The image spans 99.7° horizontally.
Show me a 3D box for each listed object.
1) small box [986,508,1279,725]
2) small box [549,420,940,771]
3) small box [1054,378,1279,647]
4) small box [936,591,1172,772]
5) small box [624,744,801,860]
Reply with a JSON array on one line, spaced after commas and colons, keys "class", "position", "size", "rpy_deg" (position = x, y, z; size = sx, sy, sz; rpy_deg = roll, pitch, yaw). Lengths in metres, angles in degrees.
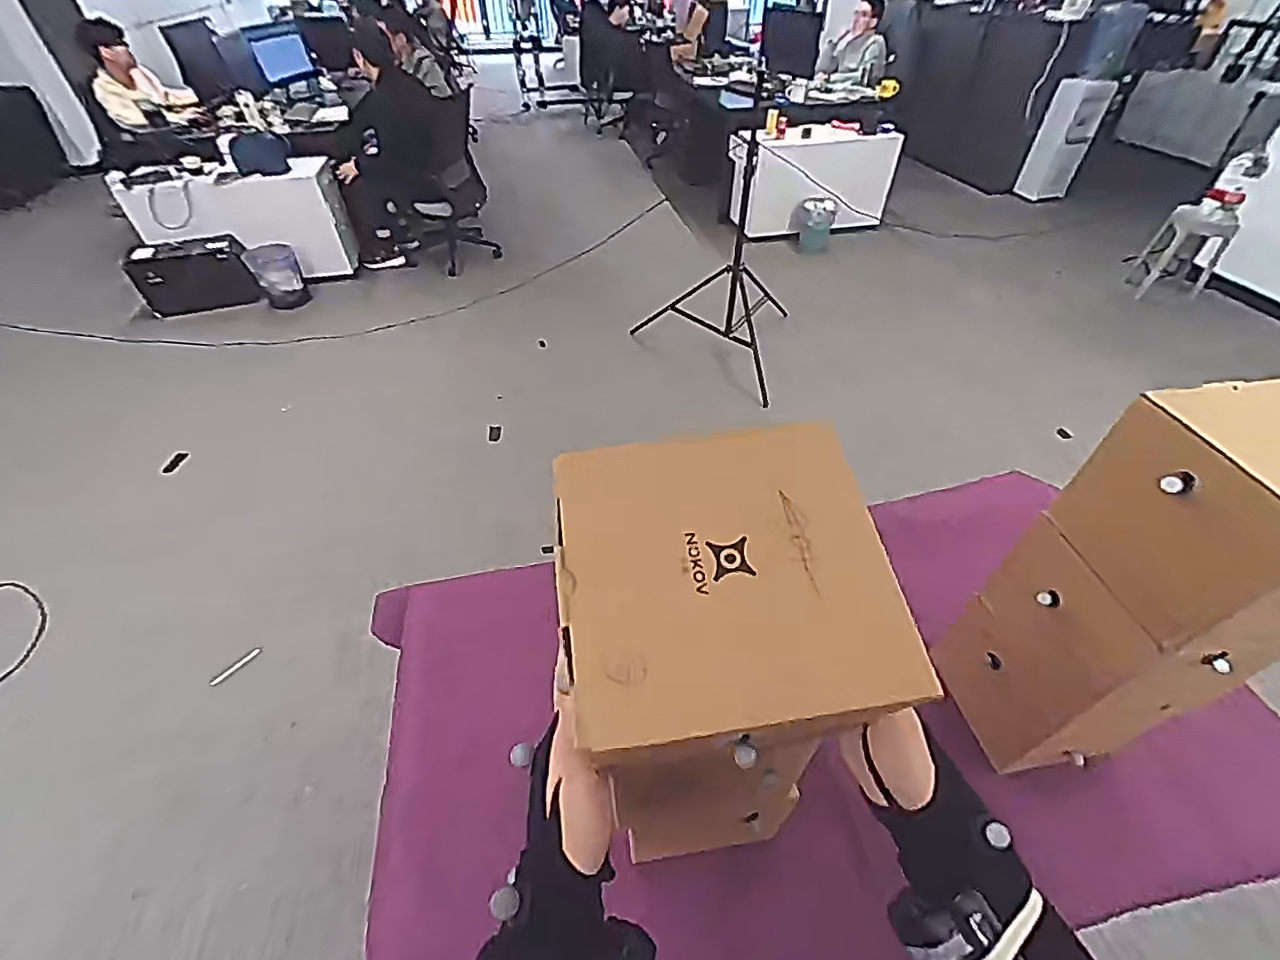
[{"class": "small box", "position": [0.533, 0.144, 0.600], "size": [0.168, 0.176, 0.179], "rpy_deg": [-6, 44, -4]}, {"class": "small box", "position": [0.045, 0.084, 0.353], "size": [0.179, 0.176, 0.168], "rpy_deg": [-8, 61, -4]}, {"class": "small box", "position": [0.533, 0.032, 0.480], "size": [0.168, 0.176, 0.179], "rpy_deg": [-6, 44, -4]}, {"class": "small box", "position": [0.535, 0.257, 0.718], "size": [0.168, 0.176, 0.179], "rpy_deg": [-7, 45, -6]}, {"class": "small box", "position": [0.068, 0.332, 0.650], "size": [0.179, 0.176, 0.168], "rpy_deg": [-7, 44, -6]}]
